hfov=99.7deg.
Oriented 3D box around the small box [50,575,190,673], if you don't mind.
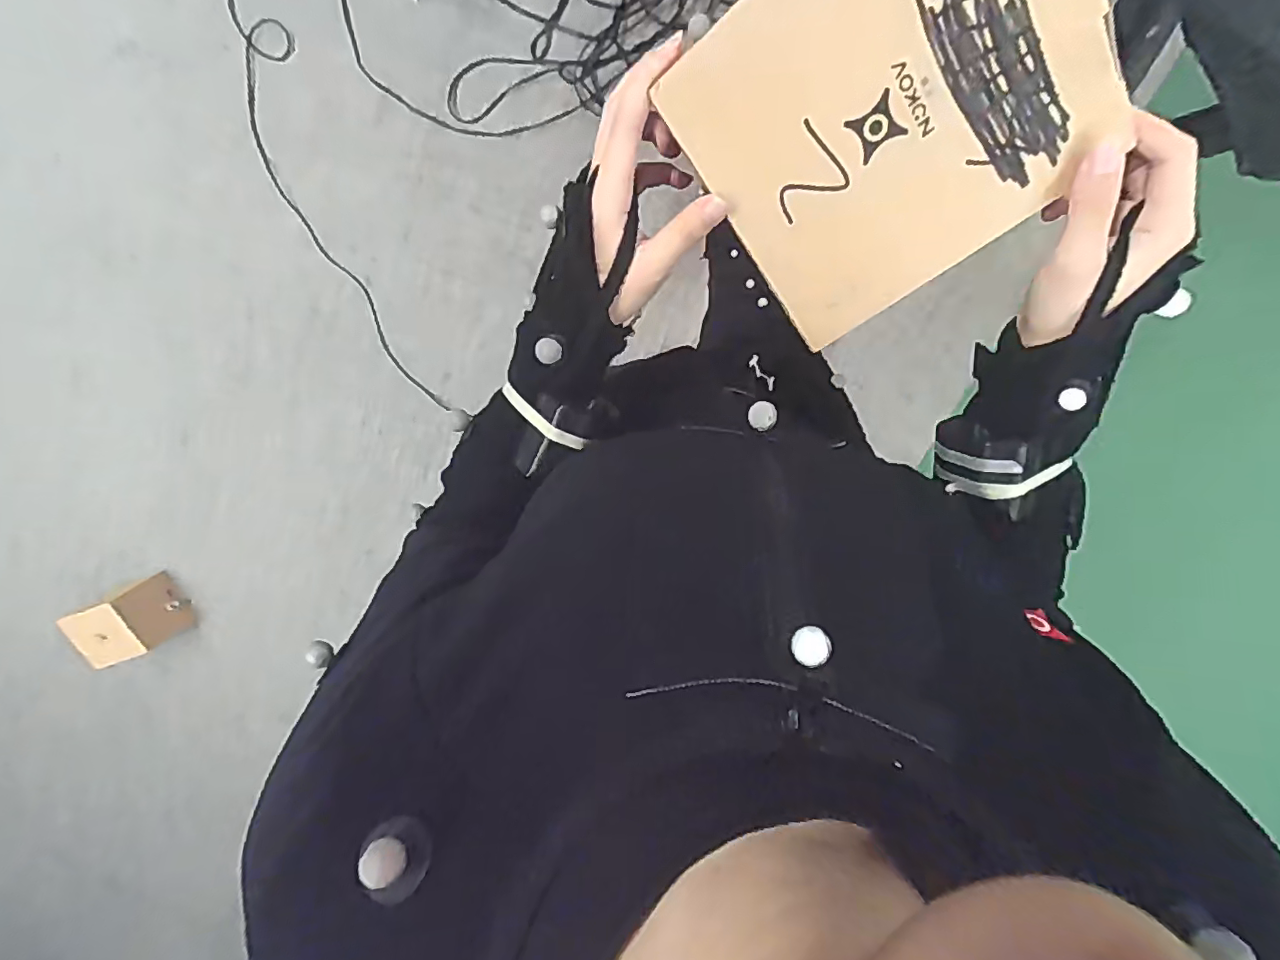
[{"bbox_3d":[-1.391,0.383,1.461,0.179,0.176,0.168,-19,109,7],"label":"small box"}]
